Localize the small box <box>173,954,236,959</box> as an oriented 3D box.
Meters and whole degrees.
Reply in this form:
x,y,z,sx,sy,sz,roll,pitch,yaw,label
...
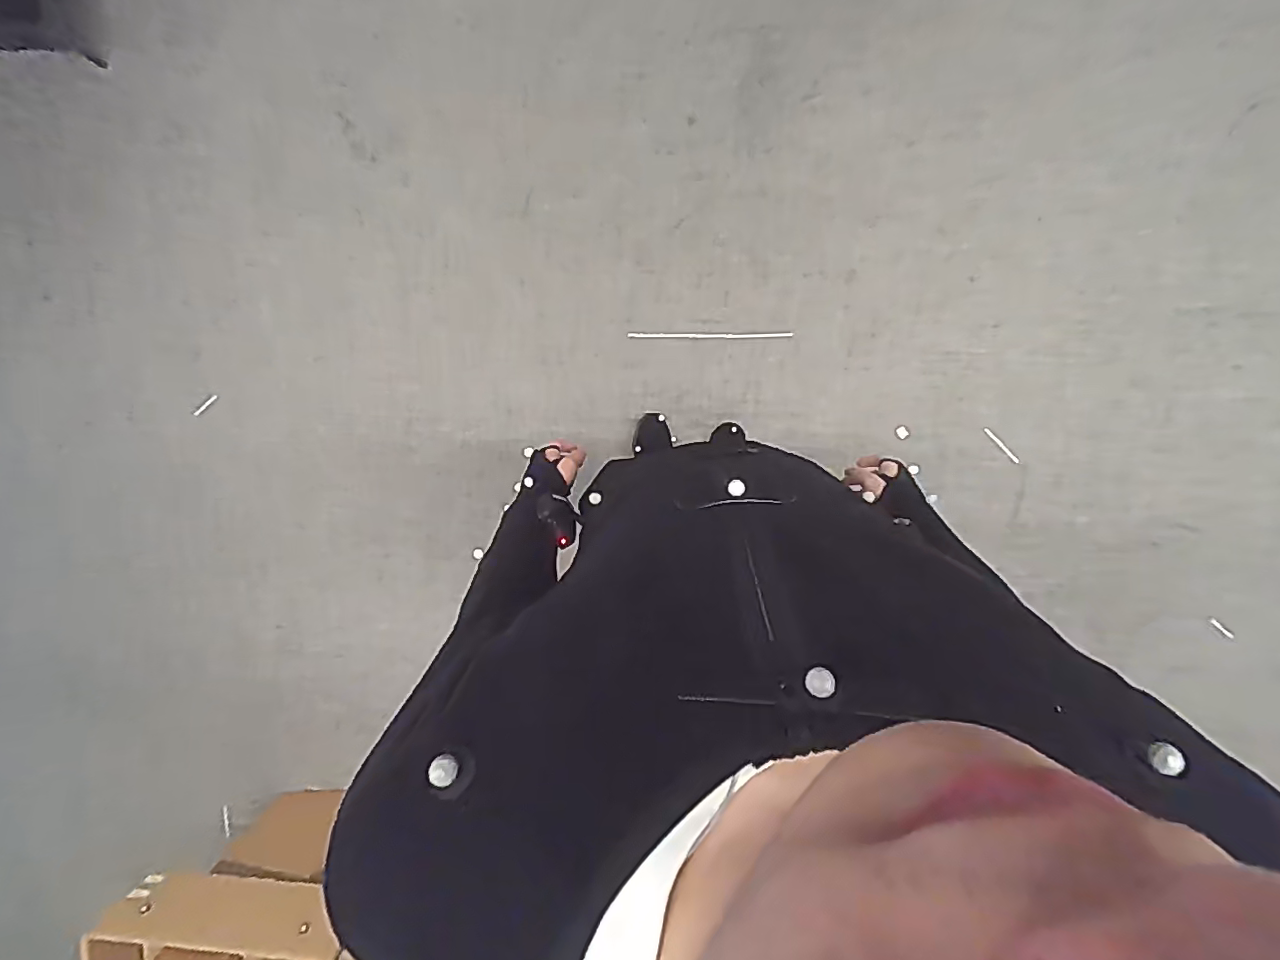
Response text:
x,y,z,sx,sy,sz,roll,pitch,yaw,label
-1.121,1.304,1.312,0.179,0.176,0.168,3,97,1,small box
